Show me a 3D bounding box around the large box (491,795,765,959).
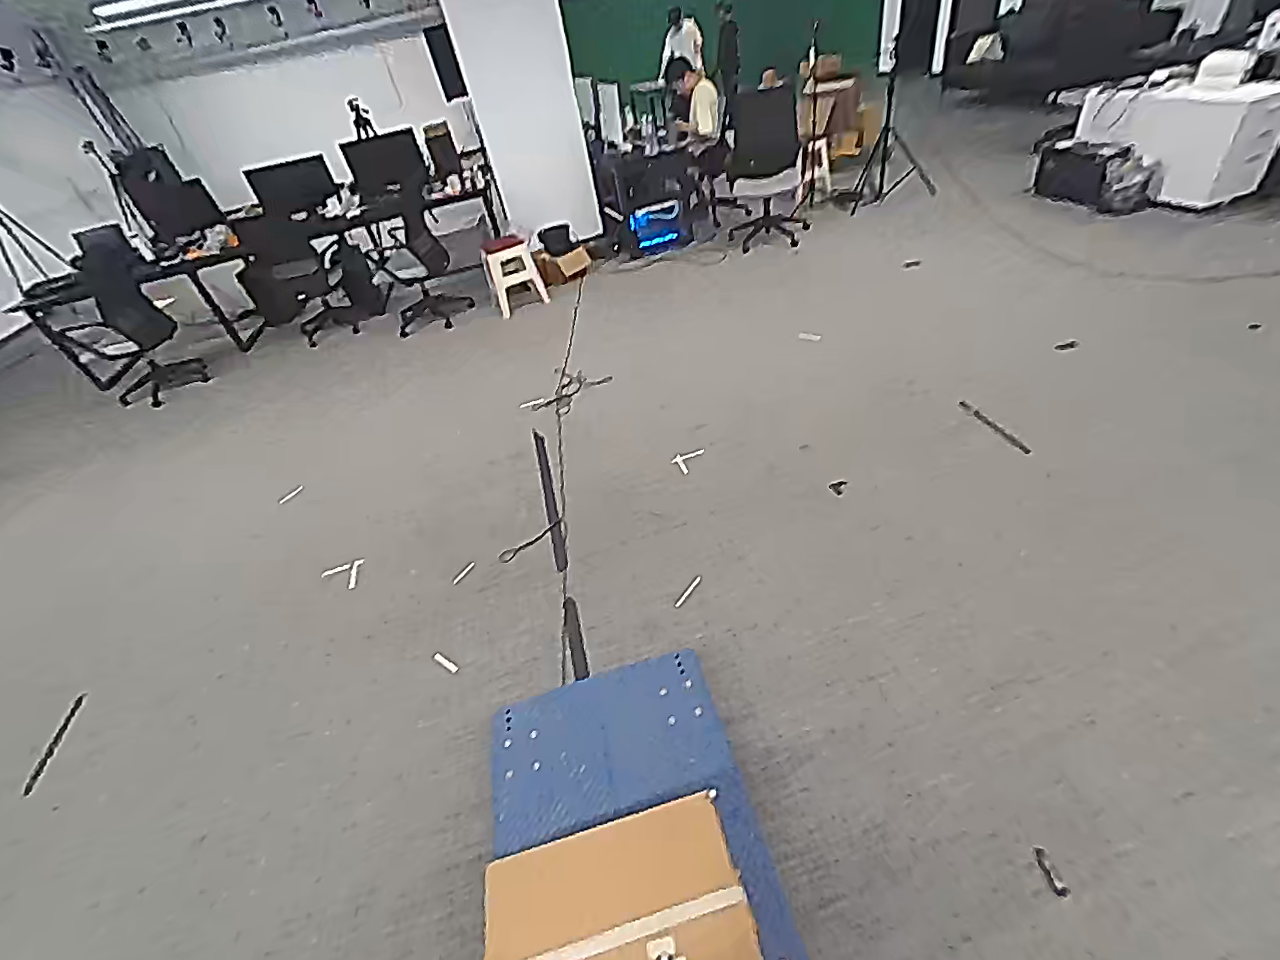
[{"bbox_3d":[-0.006,0.816,0.916,0.408,0.320,0.320,-16,40,-4],"label":"large box"}]
